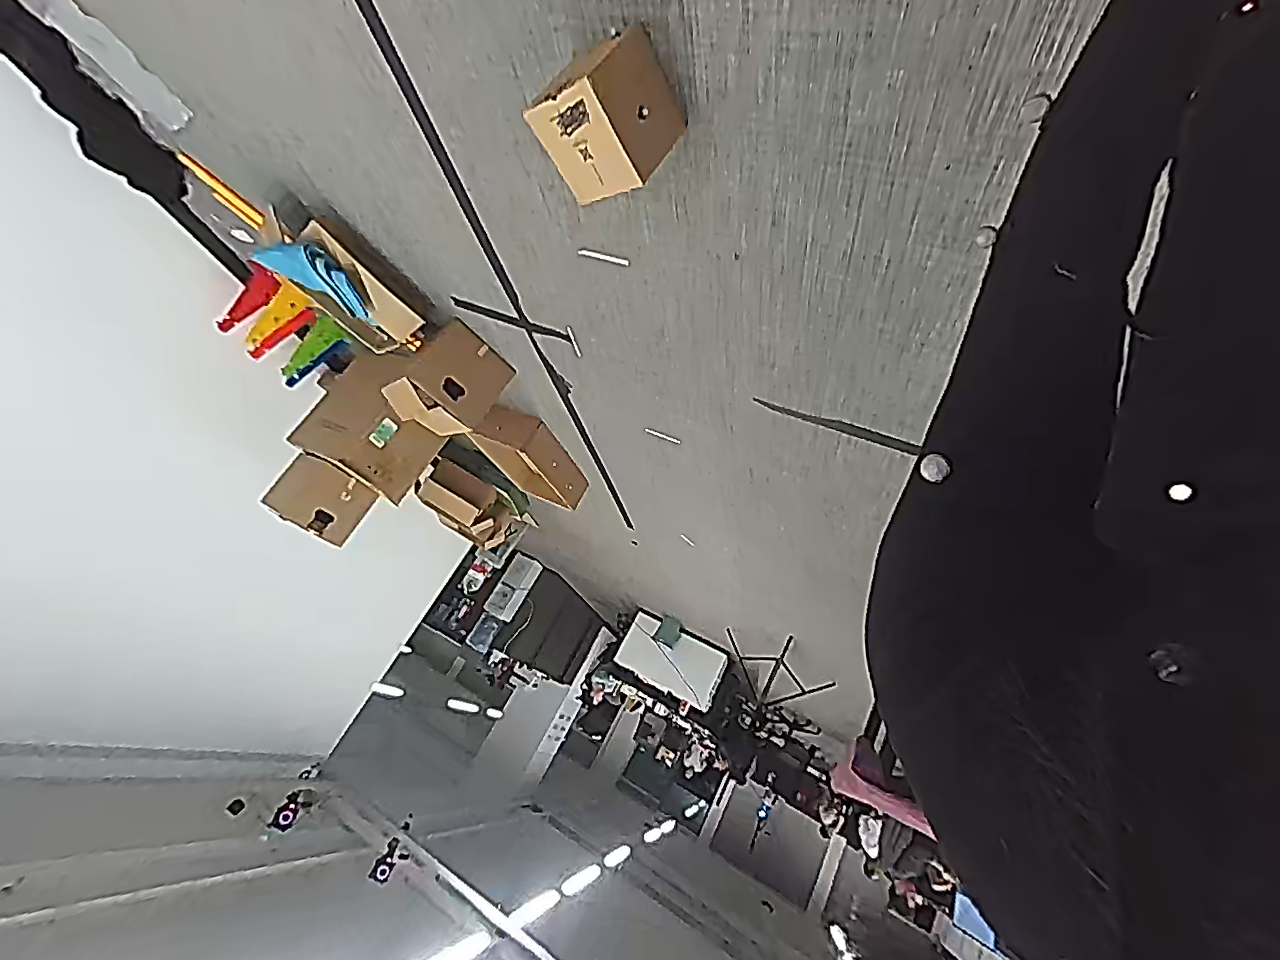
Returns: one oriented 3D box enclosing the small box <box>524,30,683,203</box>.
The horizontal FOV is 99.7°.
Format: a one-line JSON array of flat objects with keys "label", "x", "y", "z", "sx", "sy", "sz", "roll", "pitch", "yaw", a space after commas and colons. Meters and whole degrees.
[{"label": "small box", "x": -0.056, "y": -0.619, "z": 0.925, "sx": 0.168, "sy": 0.176, "sz": 0.179, "roll": 11, "pitch": 153, "yaw": 43}]
